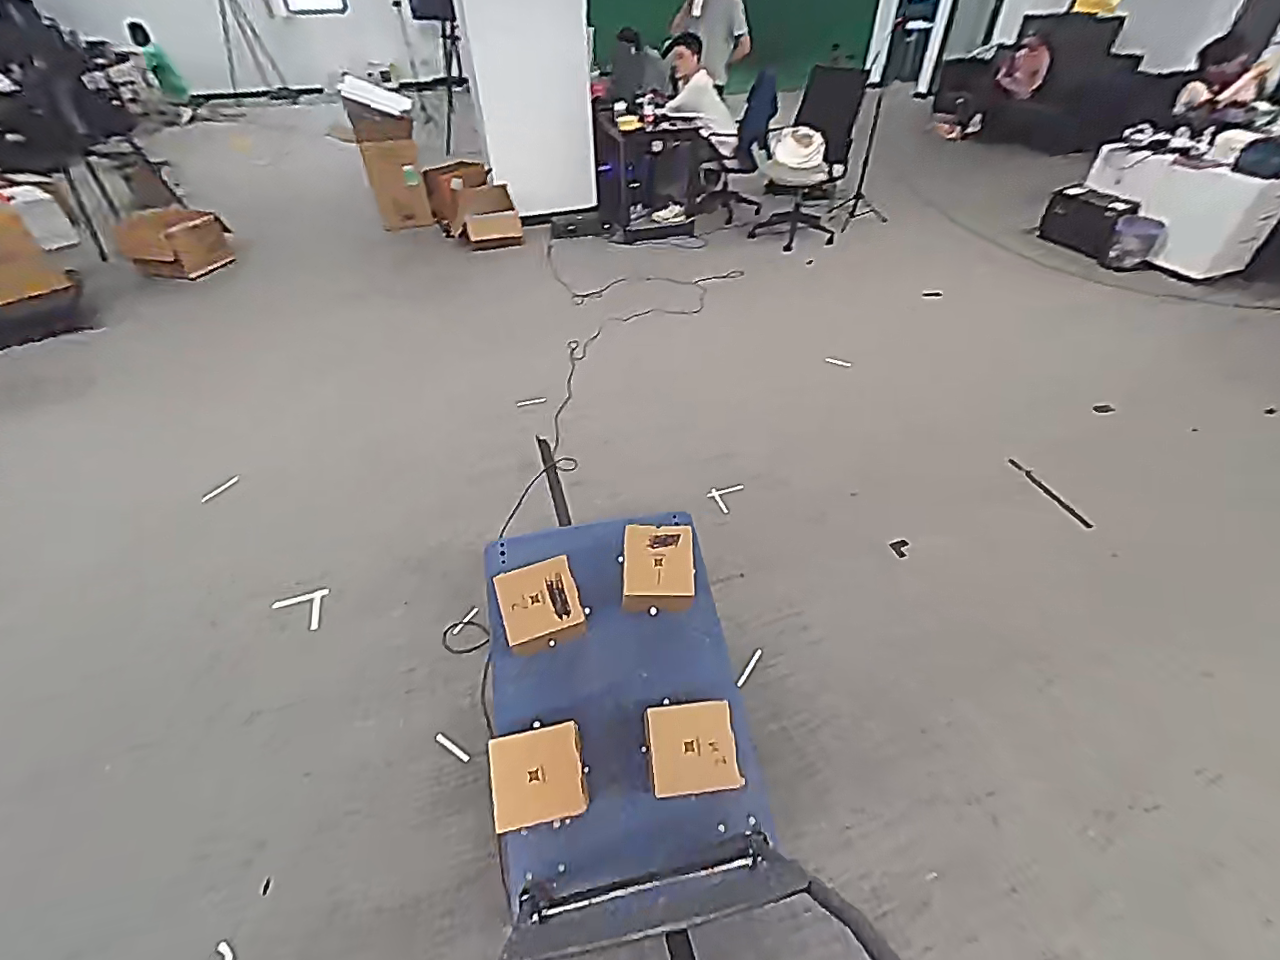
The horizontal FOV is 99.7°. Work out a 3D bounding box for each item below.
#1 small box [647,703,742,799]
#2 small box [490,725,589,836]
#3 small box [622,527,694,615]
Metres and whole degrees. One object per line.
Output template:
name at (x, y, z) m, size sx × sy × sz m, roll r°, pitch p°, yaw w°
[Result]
small box at (0.108, 0.585, 1.169) m, size 0.179 × 0.176 × 0.168 m, roll -4°, pitch 63°, yaw -5°
small box at (-0.206, 0.625, 1.132) m, size 0.179 × 0.176 × 0.168 m, roll -9°, pitch 63°, yaw -10°
small box at (0.040, 0.230, 1.351) m, size 0.168 × 0.176 × 0.179 m, roll 1°, pitch 64°, yaw -3°
